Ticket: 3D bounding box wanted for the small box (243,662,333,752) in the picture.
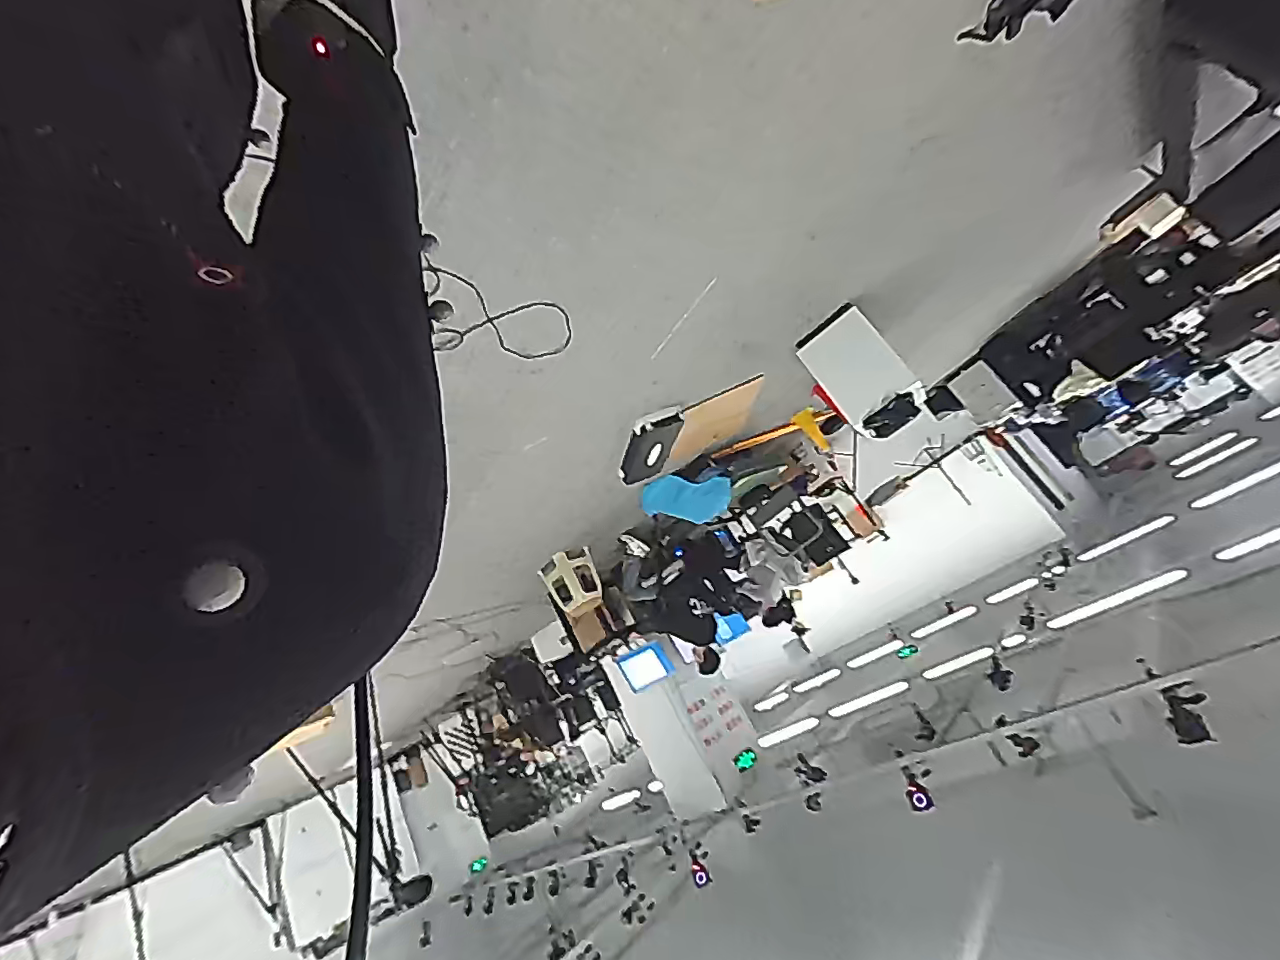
[{"bbox_3d":[-1.036,0.660,1.588,0.179,0.176,0.168,-7,150,-46],"label":"small box"}]
